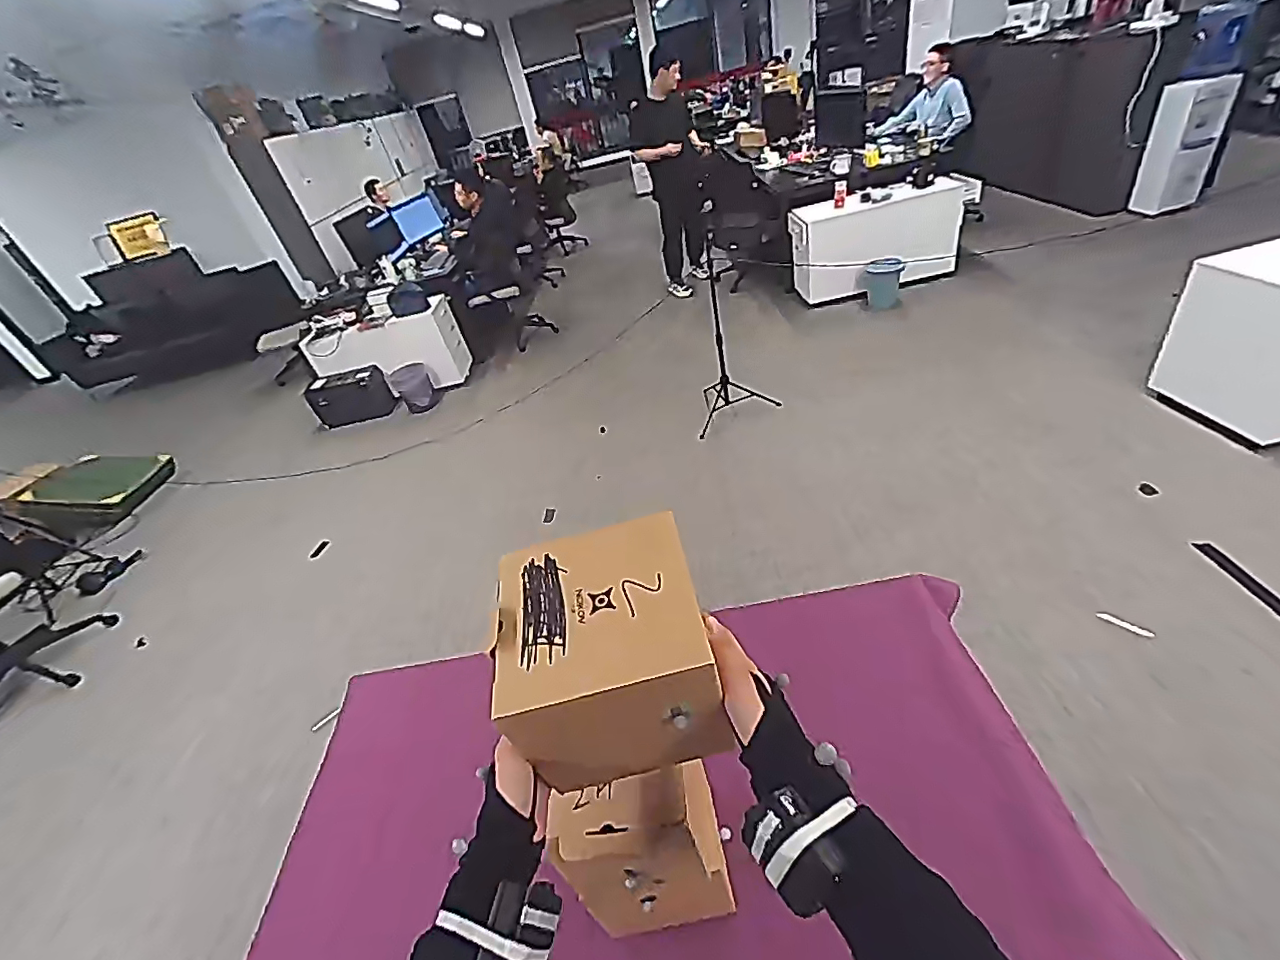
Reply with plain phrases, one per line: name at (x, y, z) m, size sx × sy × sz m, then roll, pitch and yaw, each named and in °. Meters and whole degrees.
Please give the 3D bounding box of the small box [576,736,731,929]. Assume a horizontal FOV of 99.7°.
small box at (0.017, 0.490, 0.751) m, size 0.179 × 0.176 × 0.168 m, roll -13°, pitch 37°, yaw 2°

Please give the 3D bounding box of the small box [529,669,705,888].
small box at (-0.018, 0.360, 0.656) m, size 0.168 × 0.176 × 0.179 m, roll -10°, pitch 37°, yaw 7°
